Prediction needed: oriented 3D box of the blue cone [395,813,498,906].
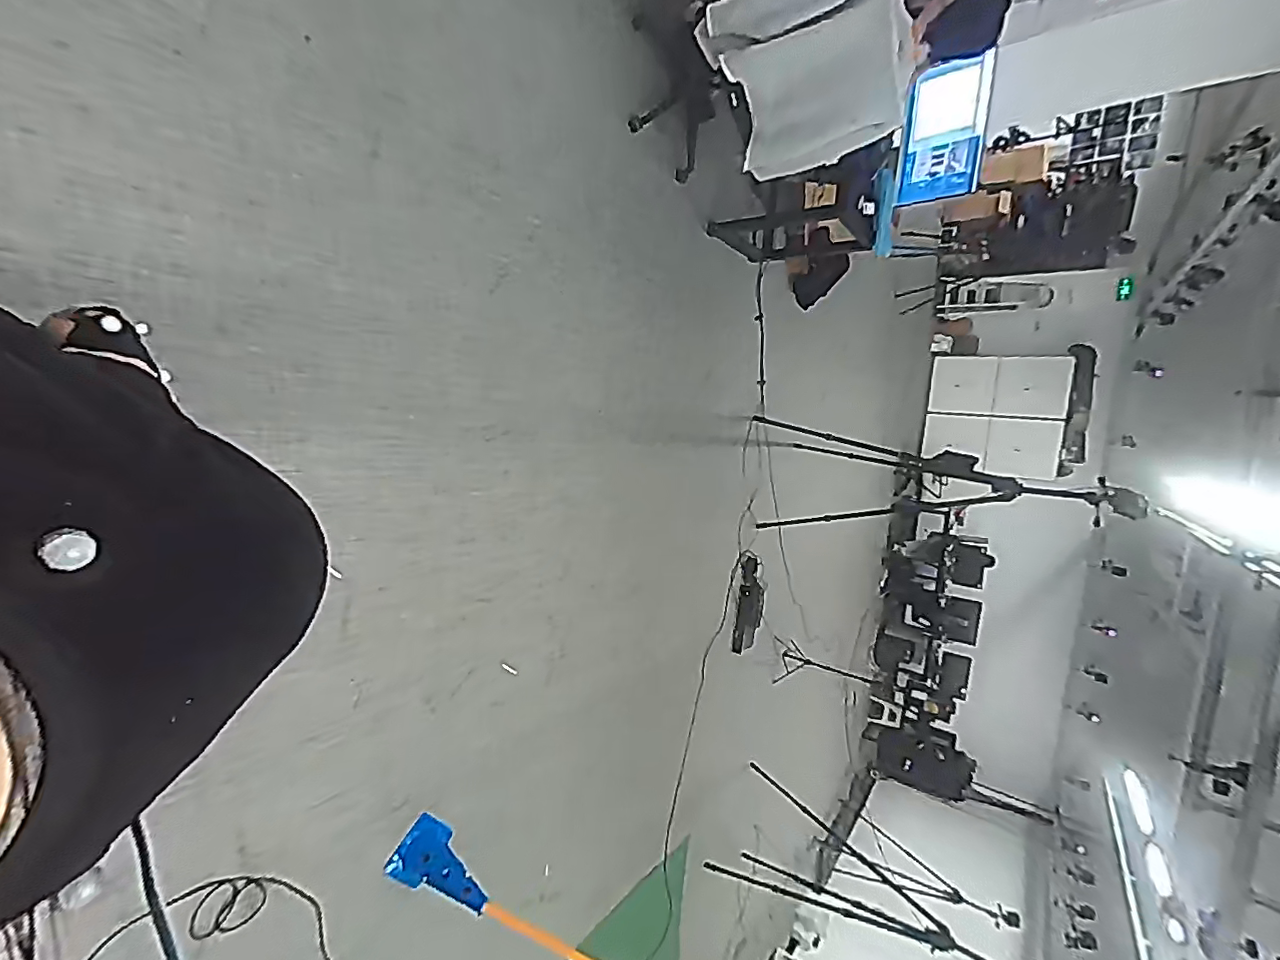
[{"bbox_3d":[-0.614,1.293,1.791,0.193,0.380,0.192,-56,137,-34],"label":"blue cone"}]
